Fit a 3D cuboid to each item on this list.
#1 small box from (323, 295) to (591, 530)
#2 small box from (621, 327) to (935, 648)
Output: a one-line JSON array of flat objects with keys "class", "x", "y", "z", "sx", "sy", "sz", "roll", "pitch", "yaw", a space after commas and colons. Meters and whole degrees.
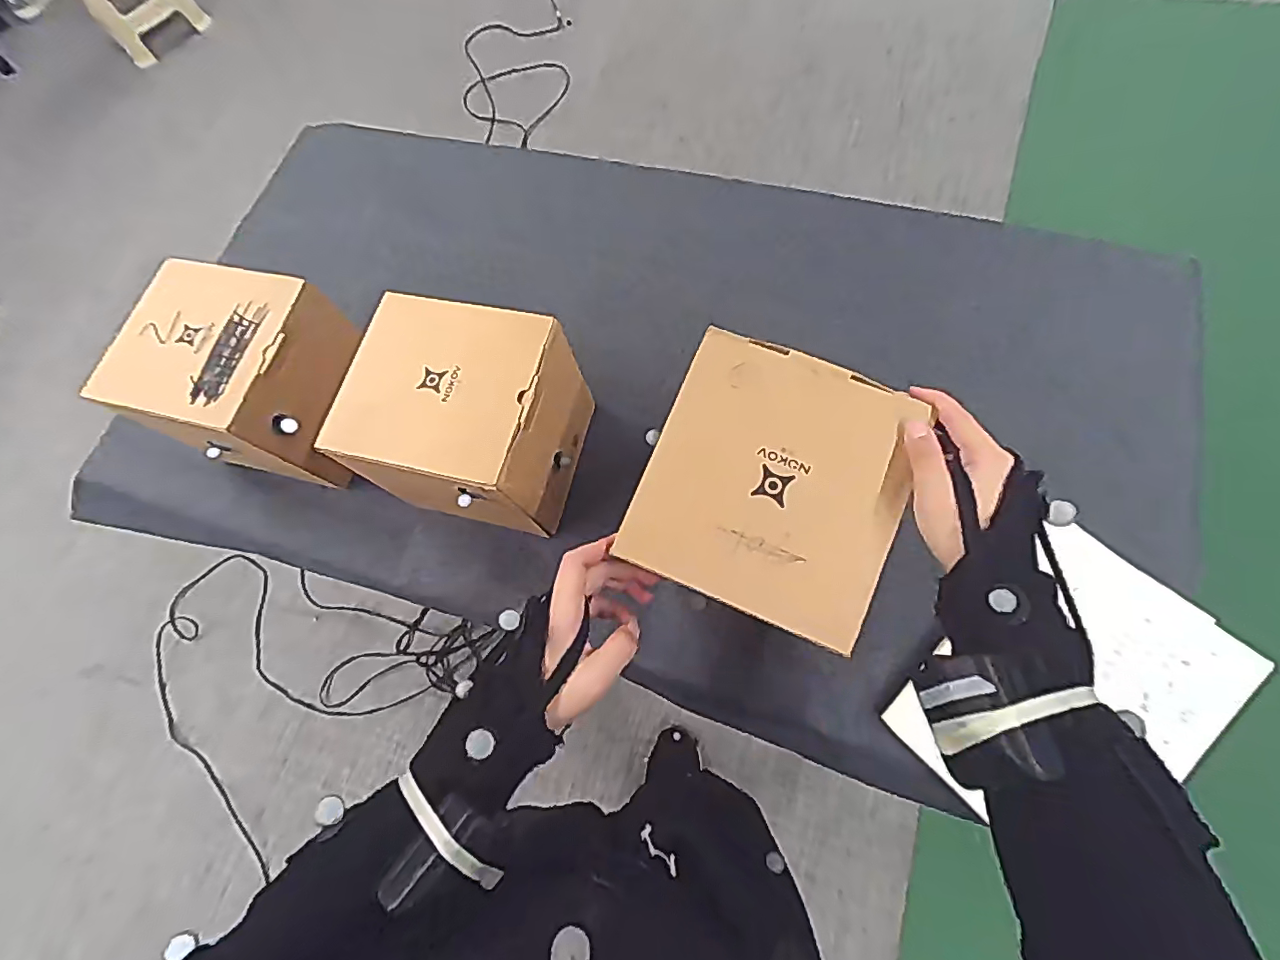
[{"class": "small box", "x": -0.165, "y": -0.059, "z": 0.550, "sx": 0.179, "sy": 0.176, "sz": 0.168, "roll": 11, "pitch": 72, "yaw": 10}, {"class": "small box", "x": 0.099, "y": 0.011, "z": 0.440, "sx": 0.168, "sy": 0.176, "sz": 0.179, "roll": 21, "pitch": 83, "yaw": 9}]
